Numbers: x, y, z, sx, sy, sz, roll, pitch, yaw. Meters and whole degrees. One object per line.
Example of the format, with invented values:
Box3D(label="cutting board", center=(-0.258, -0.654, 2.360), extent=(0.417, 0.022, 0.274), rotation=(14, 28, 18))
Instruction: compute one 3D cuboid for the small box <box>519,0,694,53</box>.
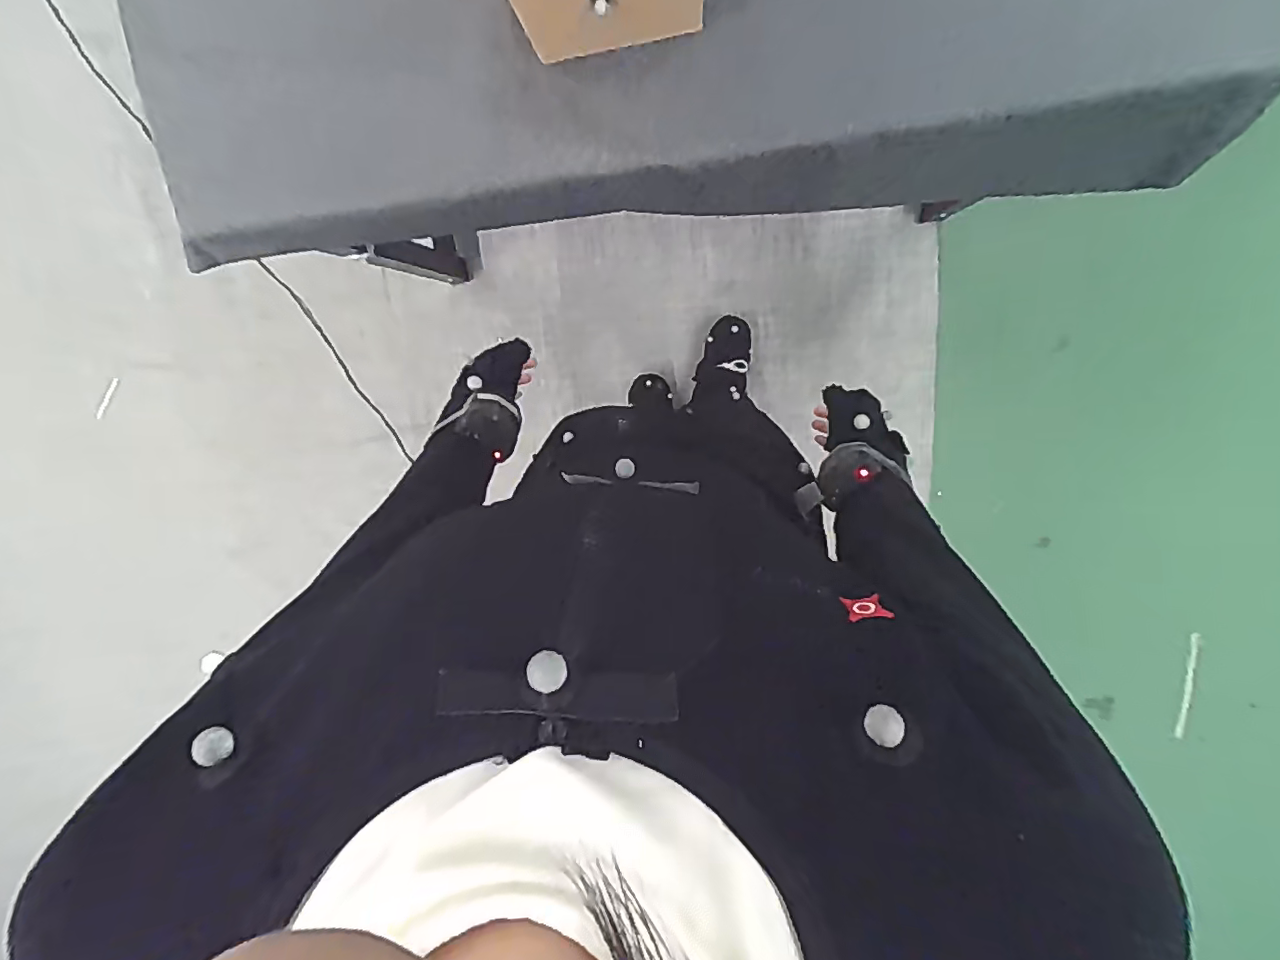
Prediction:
Box3D(label="small box", center=(-0.037, -0.521, 0.471), extent=(0.179, 0.176, 0.168), rotation=(-10, 104, 7))
